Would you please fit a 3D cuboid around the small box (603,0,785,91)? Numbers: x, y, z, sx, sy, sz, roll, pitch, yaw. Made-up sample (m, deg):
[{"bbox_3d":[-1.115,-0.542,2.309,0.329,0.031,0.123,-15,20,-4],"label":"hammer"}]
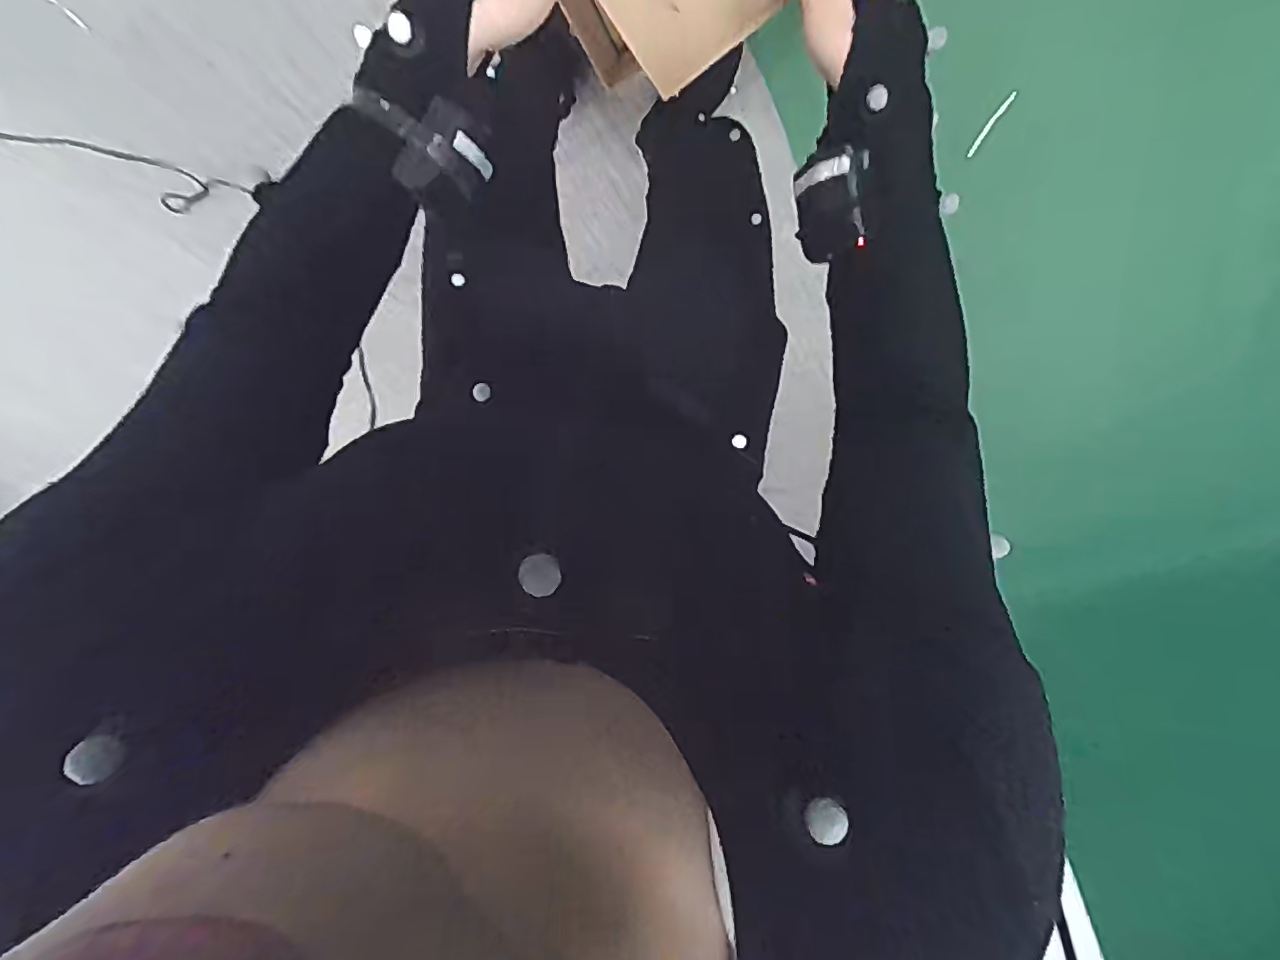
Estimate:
[{"bbox_3d":[0.042,-0.465,0.410,0.179,0.176,0.168,-18,147,33],"label":"small box"}]
